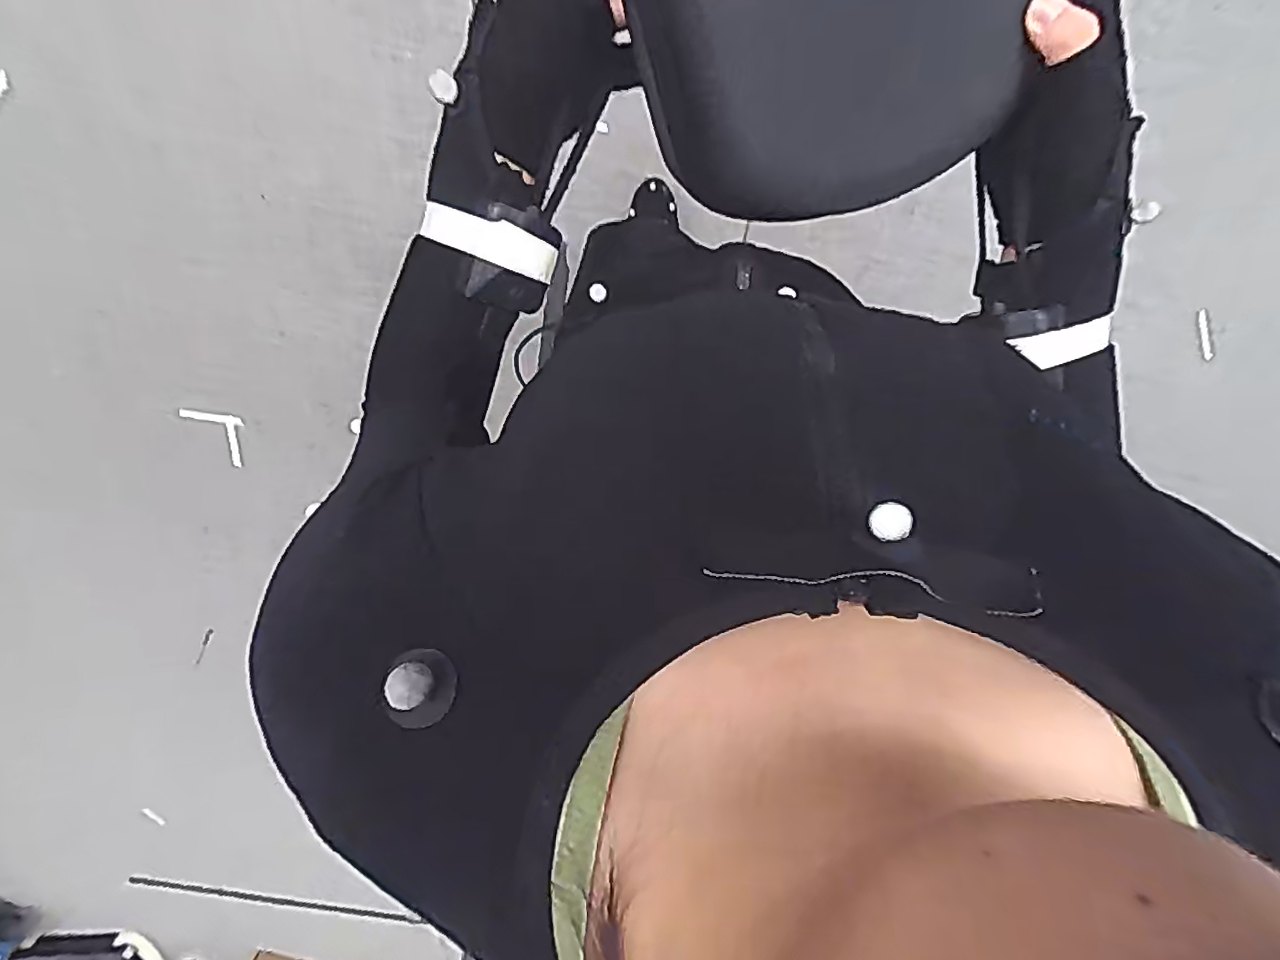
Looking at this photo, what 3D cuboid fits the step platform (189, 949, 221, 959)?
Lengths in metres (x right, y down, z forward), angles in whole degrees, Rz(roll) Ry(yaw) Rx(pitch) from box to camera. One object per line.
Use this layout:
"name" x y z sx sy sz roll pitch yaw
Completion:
"step platform" -2.526 2.684 2.836 0.684 0.204 0.286 -17 114 9
